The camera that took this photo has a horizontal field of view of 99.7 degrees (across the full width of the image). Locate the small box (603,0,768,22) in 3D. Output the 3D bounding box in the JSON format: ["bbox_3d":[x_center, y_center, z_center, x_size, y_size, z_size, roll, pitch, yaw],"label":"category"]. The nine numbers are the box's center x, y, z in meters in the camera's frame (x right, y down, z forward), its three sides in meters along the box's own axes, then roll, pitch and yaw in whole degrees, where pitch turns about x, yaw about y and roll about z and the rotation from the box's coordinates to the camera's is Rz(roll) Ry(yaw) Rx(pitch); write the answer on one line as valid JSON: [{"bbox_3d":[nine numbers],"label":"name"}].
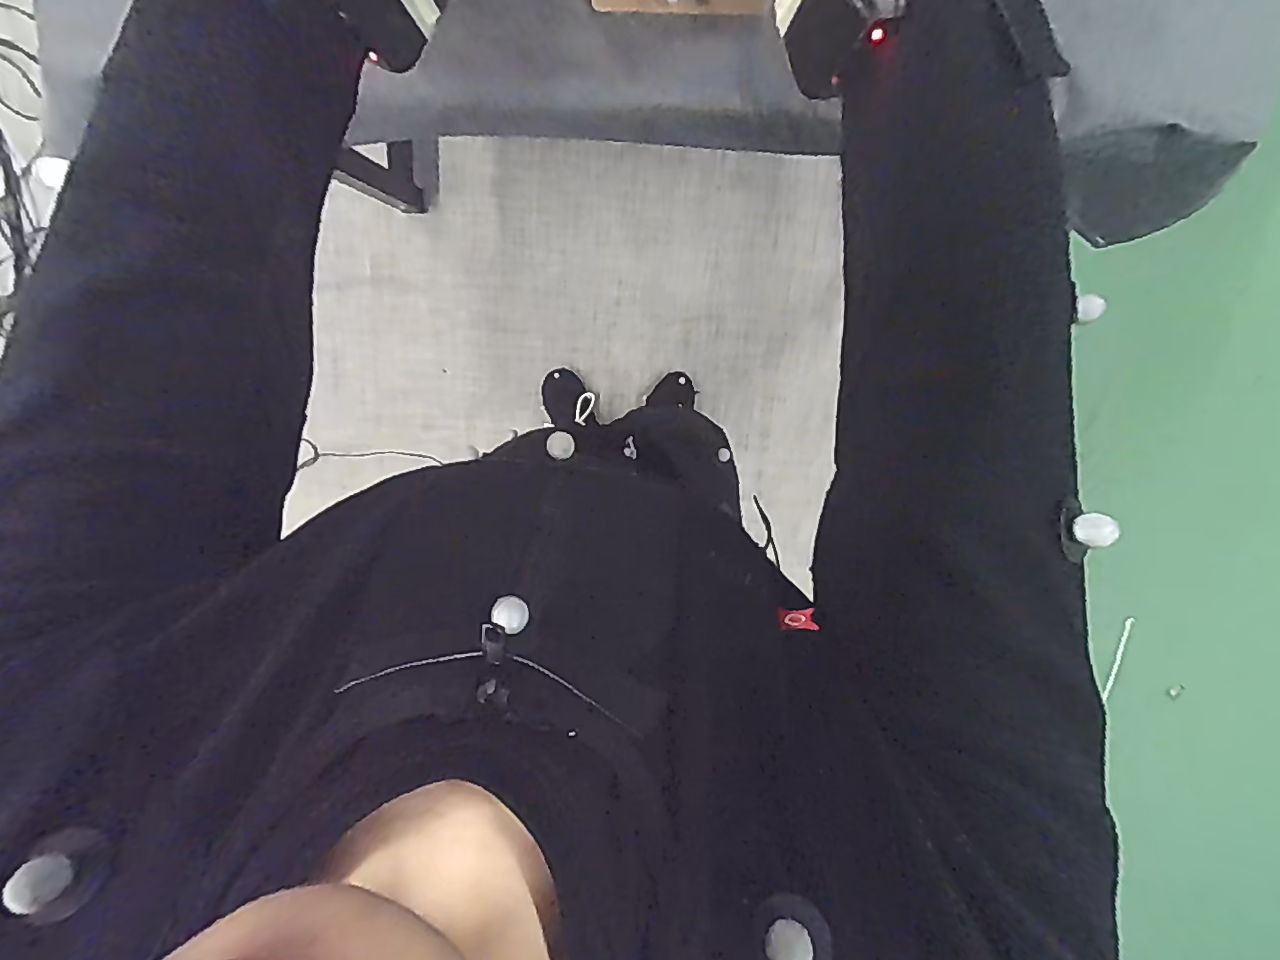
[{"bbox_3d":[0.039,-0.507,0.417,0.168,0.176,0.179,3,104,2],"label":"small box"}]
